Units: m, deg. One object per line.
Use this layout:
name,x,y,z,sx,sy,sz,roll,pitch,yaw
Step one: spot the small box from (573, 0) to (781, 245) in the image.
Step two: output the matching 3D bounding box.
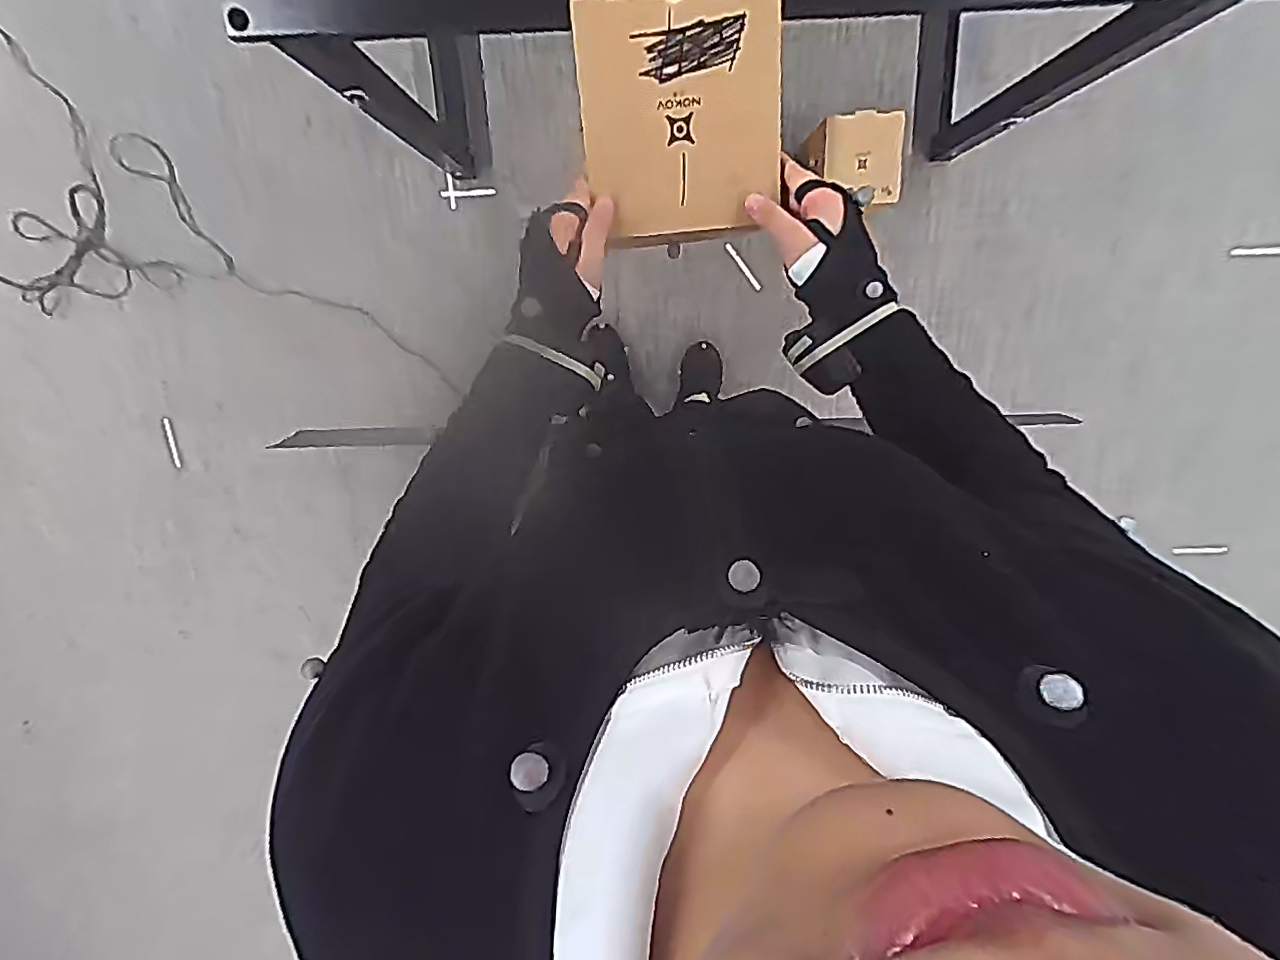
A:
small box,0.033,-0.331,0.518,0.168,0.176,0.179,-5,111,2

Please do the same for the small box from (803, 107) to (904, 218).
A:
small box,0.472,-0.706,1.219,0.168,0.176,0.179,-2,106,2
